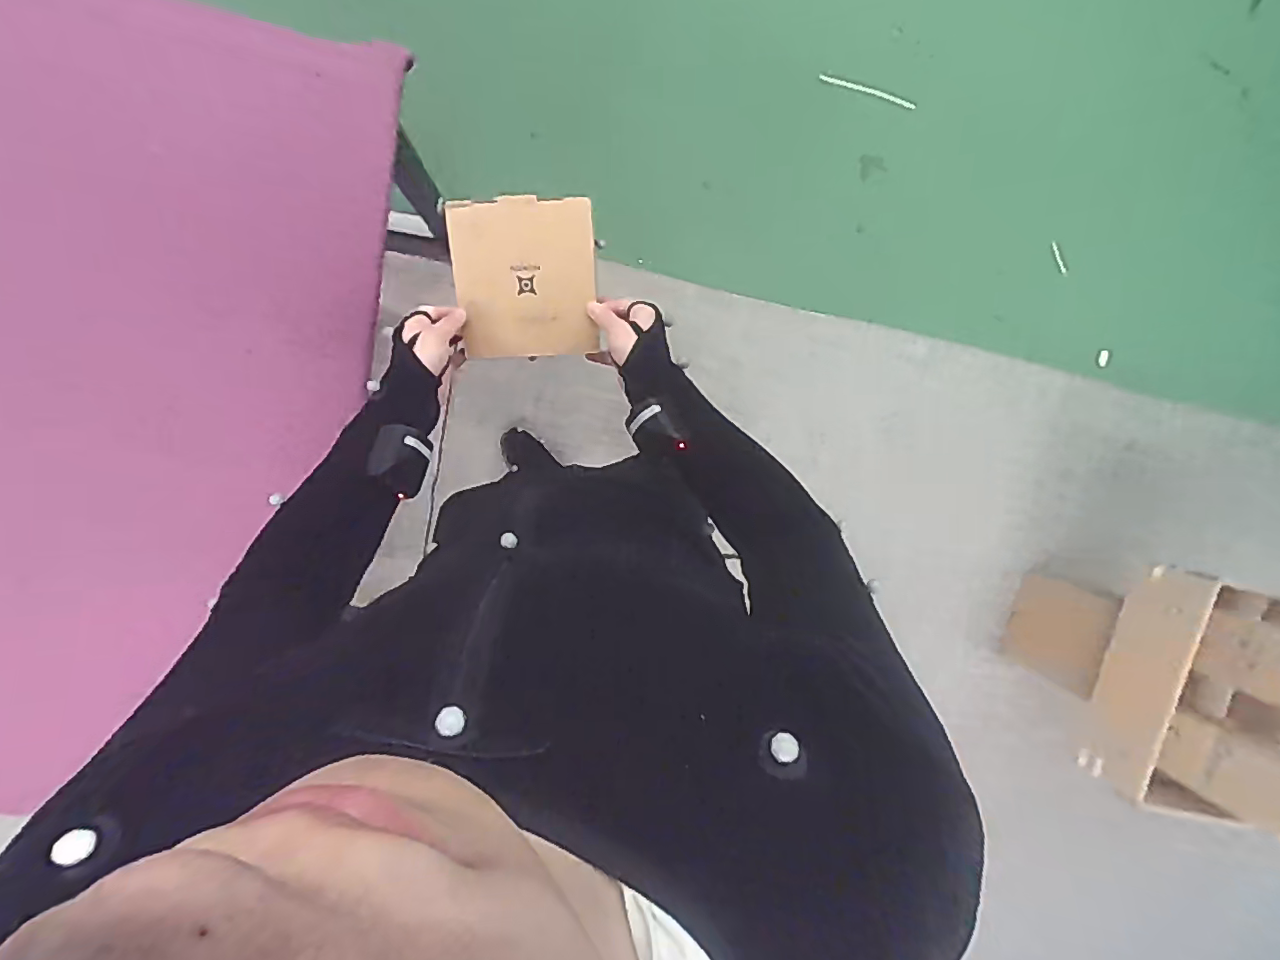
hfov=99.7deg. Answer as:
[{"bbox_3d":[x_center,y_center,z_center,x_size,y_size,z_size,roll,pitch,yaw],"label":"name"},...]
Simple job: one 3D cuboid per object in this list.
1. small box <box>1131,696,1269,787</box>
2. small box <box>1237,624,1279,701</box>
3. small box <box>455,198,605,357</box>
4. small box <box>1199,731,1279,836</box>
[{"bbox_3d":[1.464,0.695,1.427,0.179,0.176,0.168,15,94,-9],"label":"small box"},{"bbox_3d":[1.556,0.450,1.241,0.179,0.176,0.168,16,95,-9],"label":"small box"},{"bbox_3d":[-0.132,-0.258,0.710,0.168,0.176,0.179,-2,109,-3],"label":"small box"},{"bbox_3d":[1.487,0.715,1.265,0.179,0.176,0.168,14,95,-10],"label":"small box"}]
